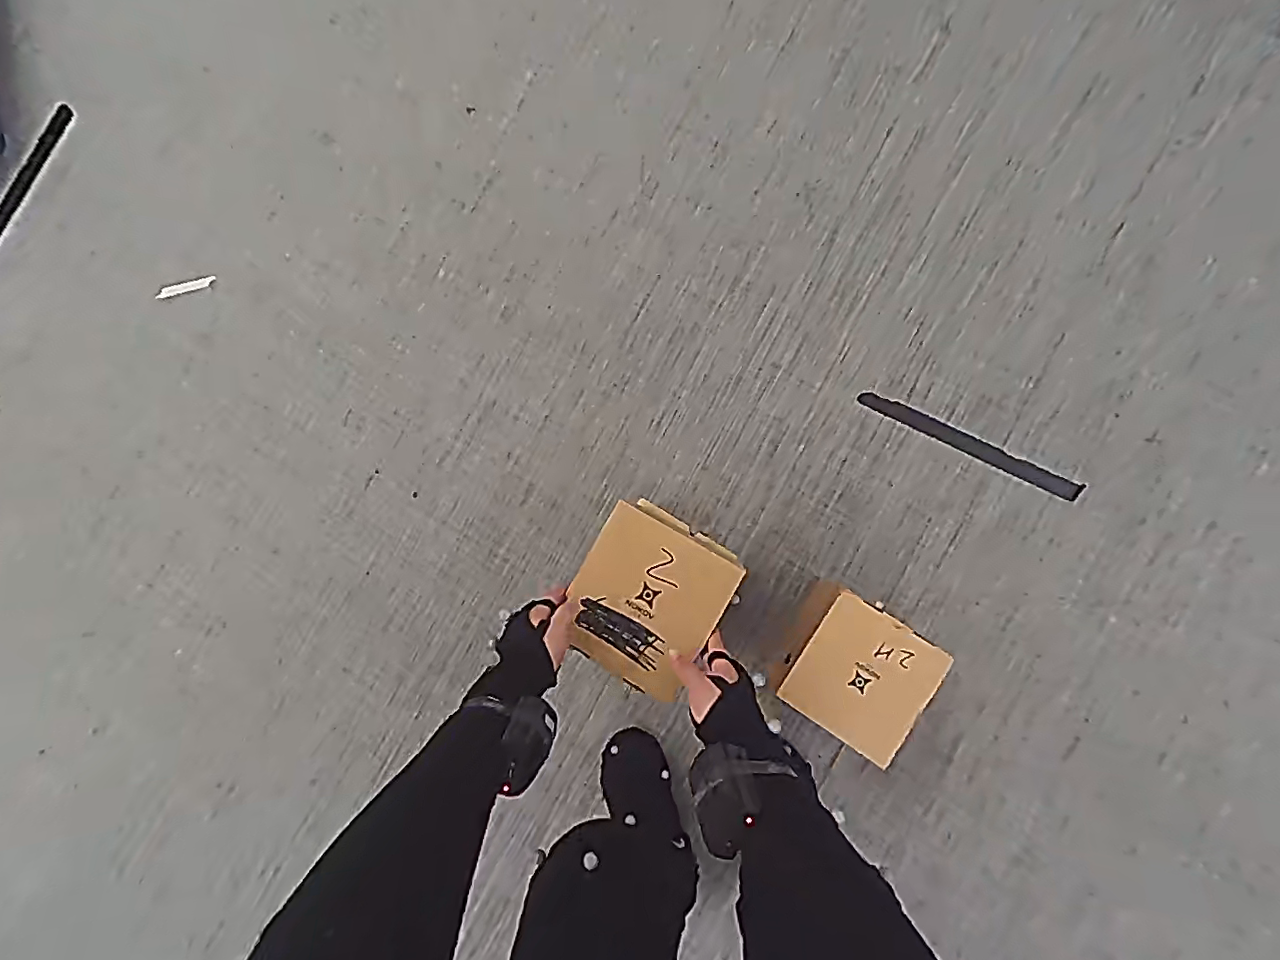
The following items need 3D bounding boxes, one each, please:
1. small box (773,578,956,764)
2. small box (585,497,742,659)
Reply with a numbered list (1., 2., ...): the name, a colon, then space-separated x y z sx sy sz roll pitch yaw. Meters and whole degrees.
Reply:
1. small box: 0.310 0.262 0.790 0.168 0.176 0.179 32 89 9
2. small box: 0.041 0.144 0.845 0.168 0.176 0.179 30 89 11
